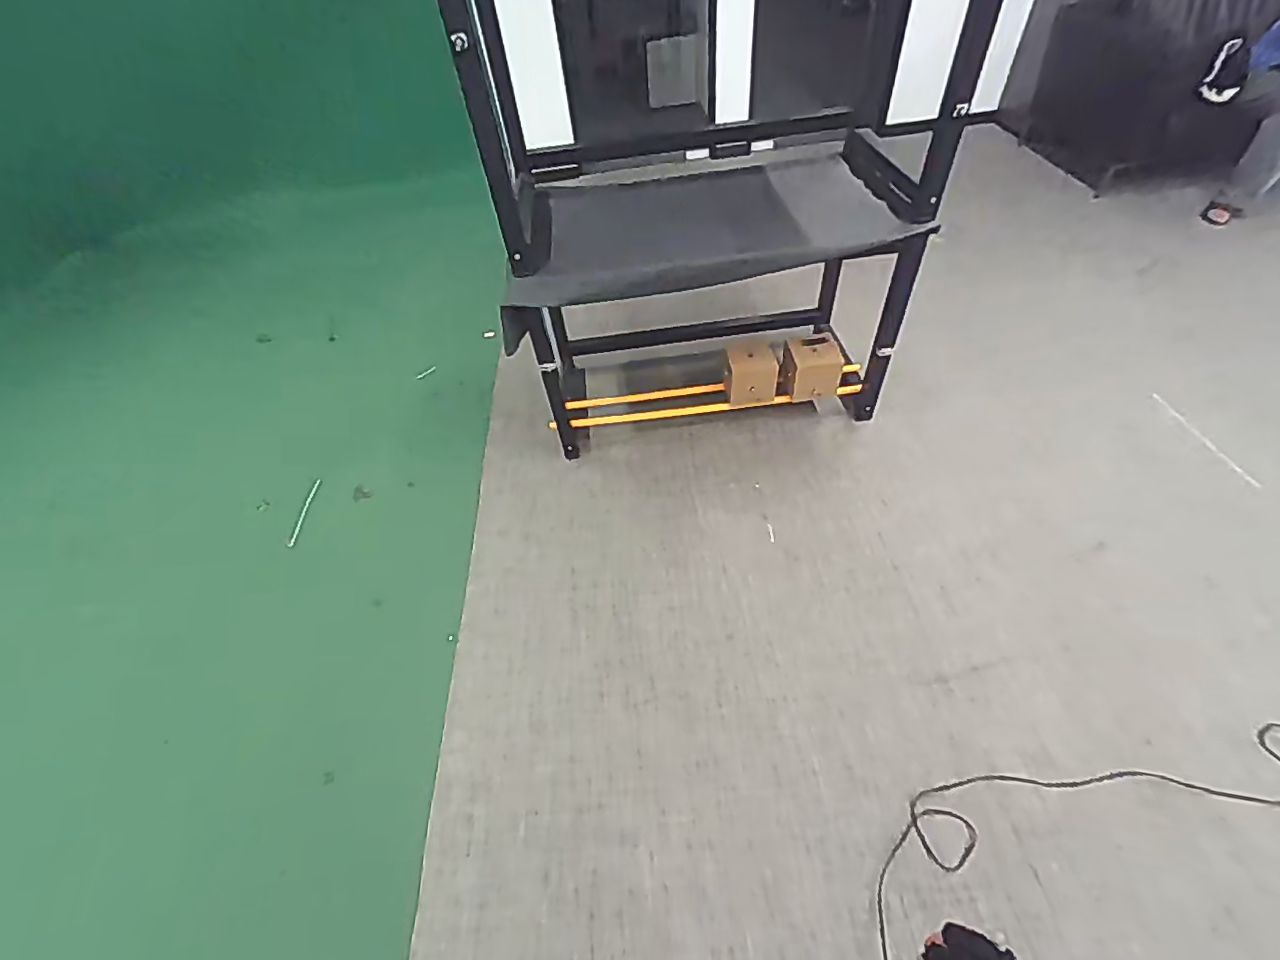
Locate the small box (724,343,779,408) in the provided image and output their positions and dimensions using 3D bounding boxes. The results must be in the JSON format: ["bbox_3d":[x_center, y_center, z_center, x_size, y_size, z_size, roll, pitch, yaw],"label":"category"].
[{"bbox_3d":[0.407,-0.380,2.005,0.168,0.176,0.179,-7,49,0],"label":"small box"}]
